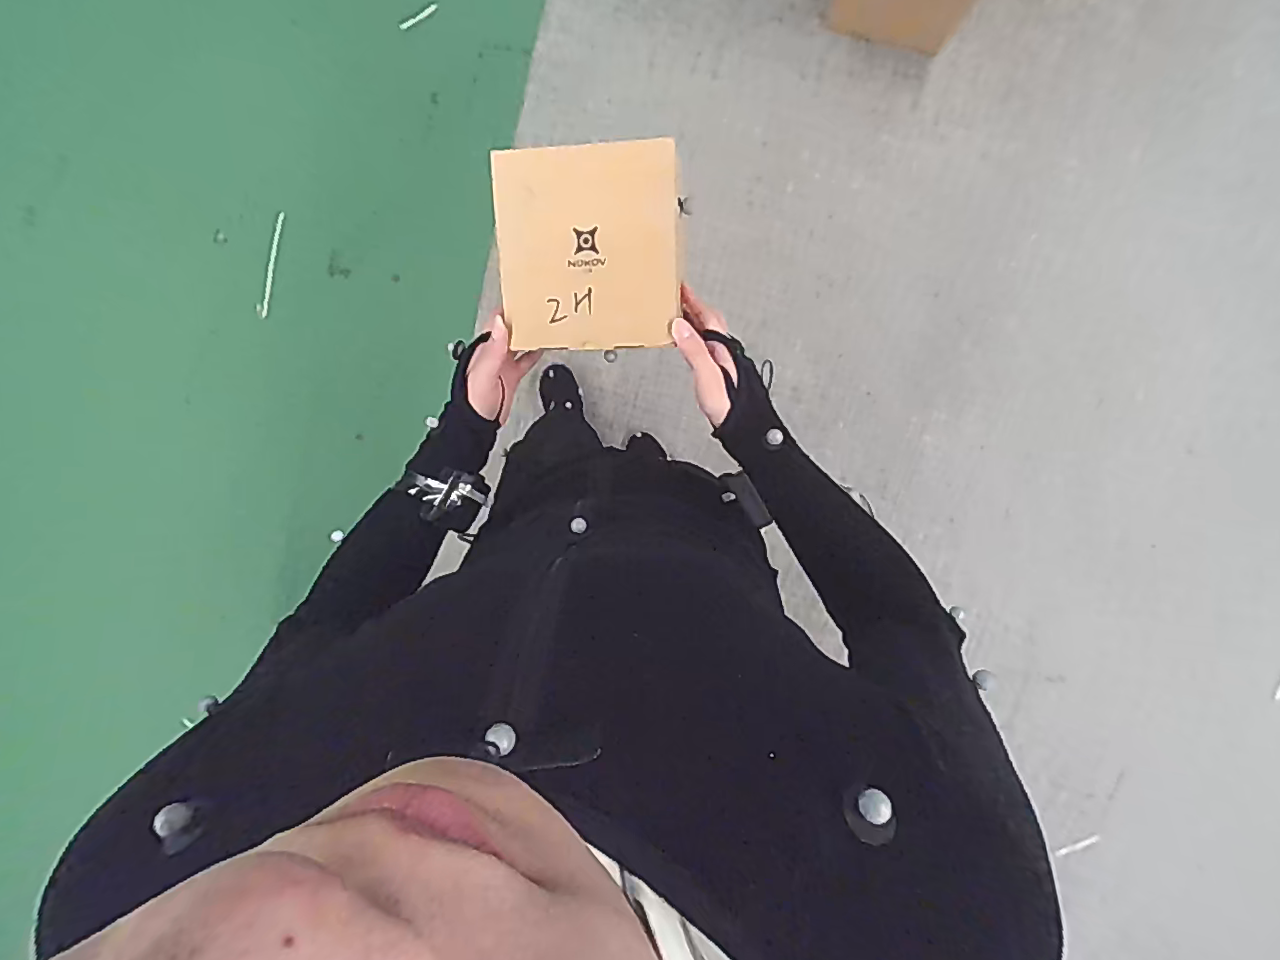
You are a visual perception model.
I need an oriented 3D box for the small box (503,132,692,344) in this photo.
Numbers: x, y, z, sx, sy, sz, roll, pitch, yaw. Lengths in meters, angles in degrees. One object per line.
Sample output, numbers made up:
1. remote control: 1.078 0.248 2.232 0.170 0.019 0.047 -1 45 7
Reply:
1. small box: -0.033 -0.233 0.564 0.168 0.176 0.179 2 105 7
